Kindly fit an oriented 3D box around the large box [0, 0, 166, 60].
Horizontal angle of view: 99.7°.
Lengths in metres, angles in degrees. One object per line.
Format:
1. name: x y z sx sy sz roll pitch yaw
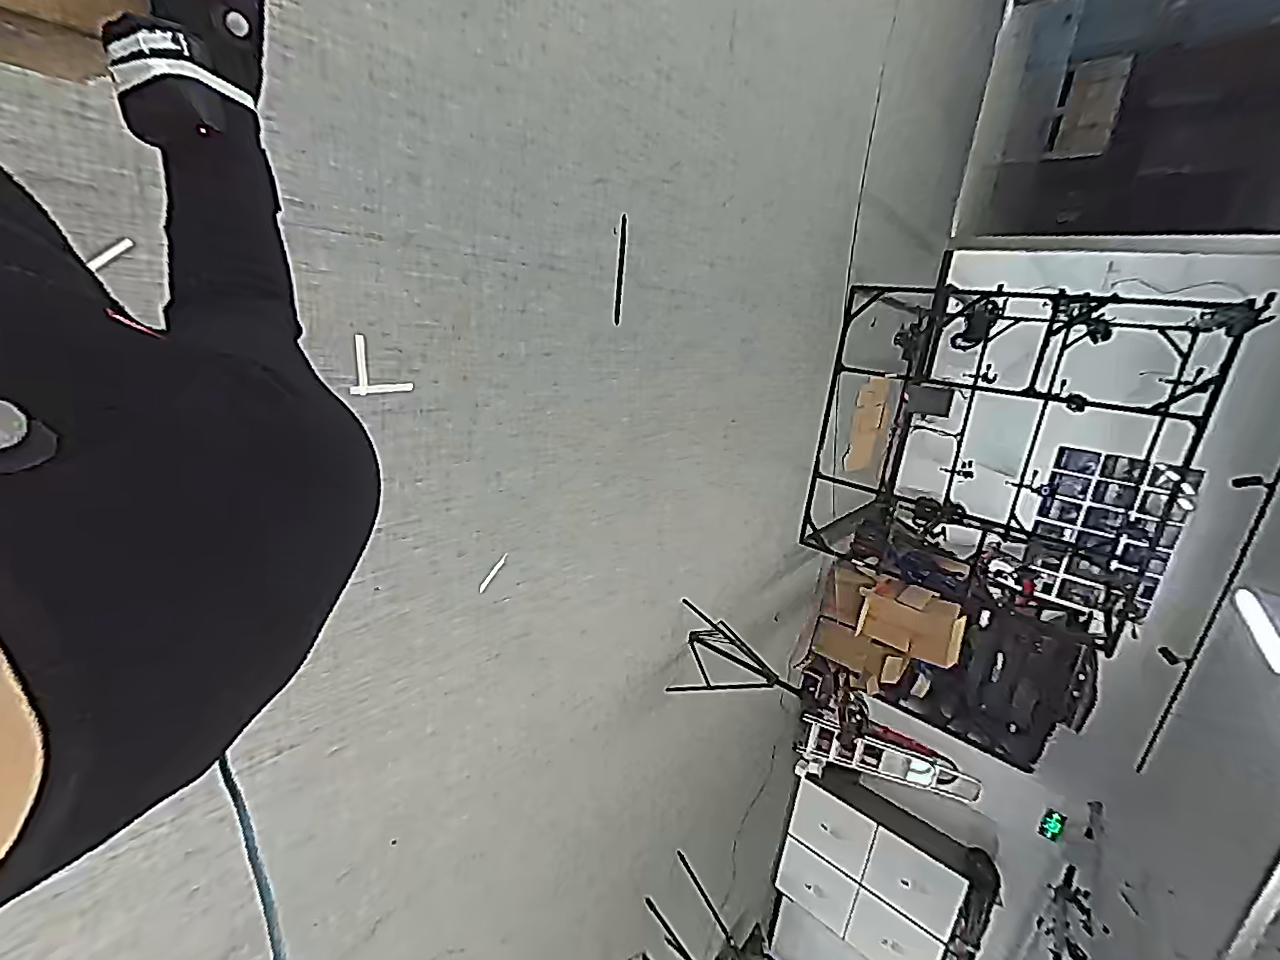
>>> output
1. large box: -0.573 -0.485 0.281 0.408 0.320 0.320 -18 125 -51
